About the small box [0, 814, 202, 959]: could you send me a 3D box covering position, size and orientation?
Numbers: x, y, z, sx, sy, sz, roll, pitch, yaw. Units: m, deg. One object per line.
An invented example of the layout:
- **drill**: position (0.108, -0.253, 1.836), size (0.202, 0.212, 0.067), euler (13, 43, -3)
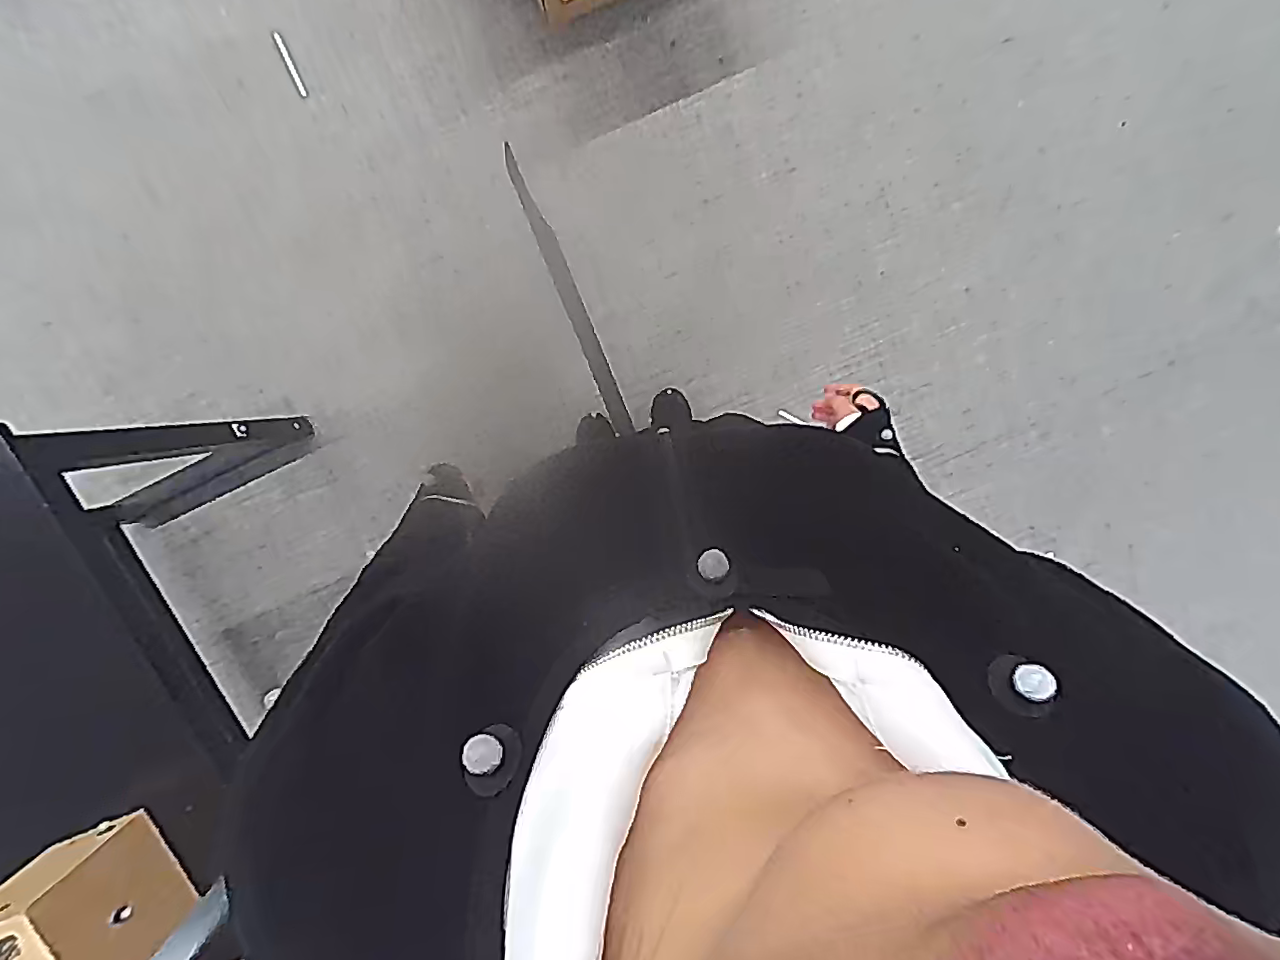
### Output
- **small box**: position (-0.787, 0.611, 0.760), size (0.168, 0.176, 0.179), euler (-23, 99, 3)
